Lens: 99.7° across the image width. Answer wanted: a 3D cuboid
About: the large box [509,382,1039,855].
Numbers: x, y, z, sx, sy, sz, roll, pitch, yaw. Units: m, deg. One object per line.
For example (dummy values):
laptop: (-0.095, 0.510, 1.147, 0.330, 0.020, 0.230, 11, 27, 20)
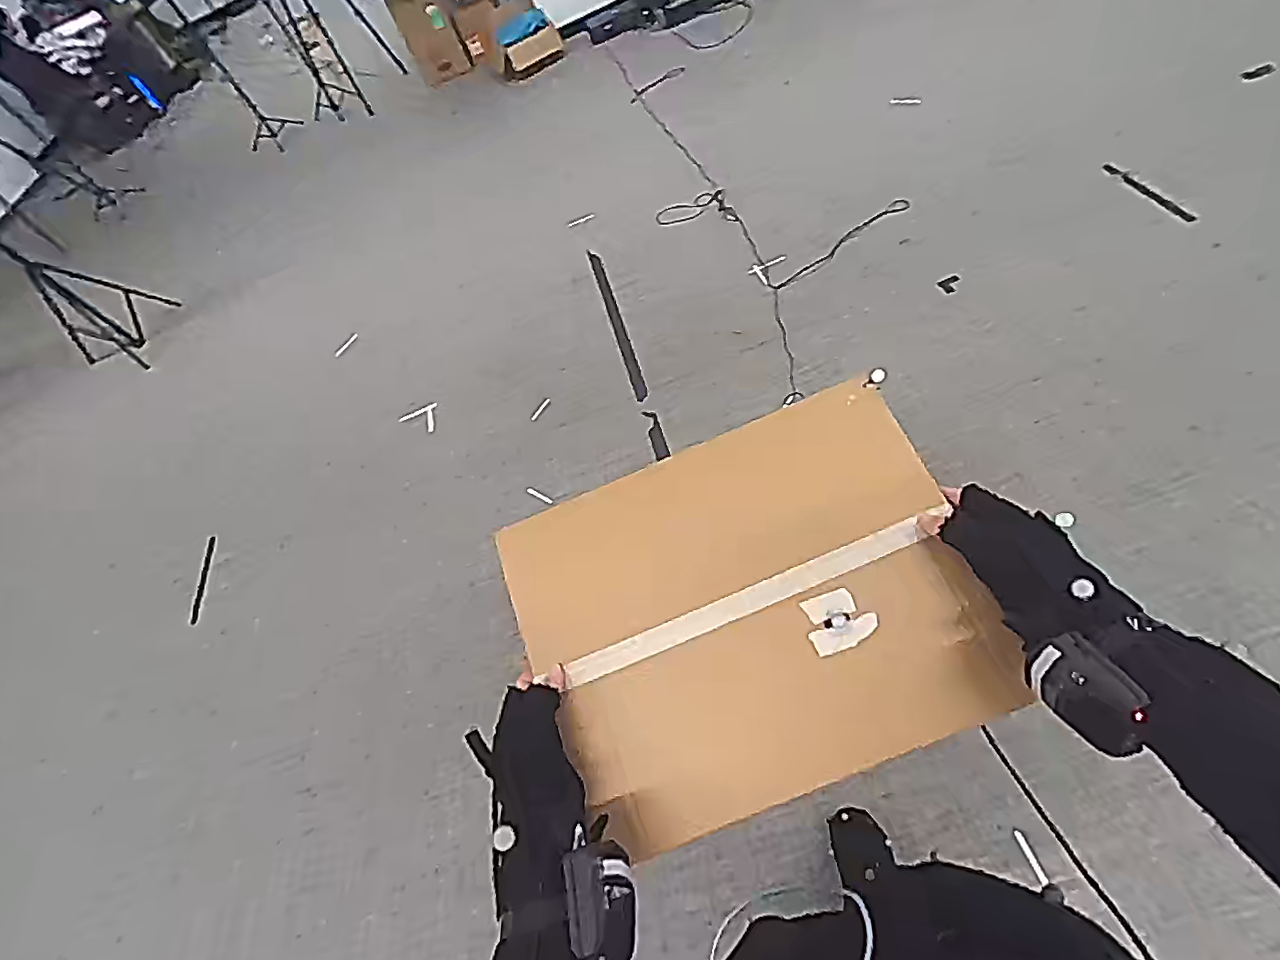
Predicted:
large box: (0.120, 0.157, 0.641, 0.408, 0.320, 0.320, -23, 70, 1)
